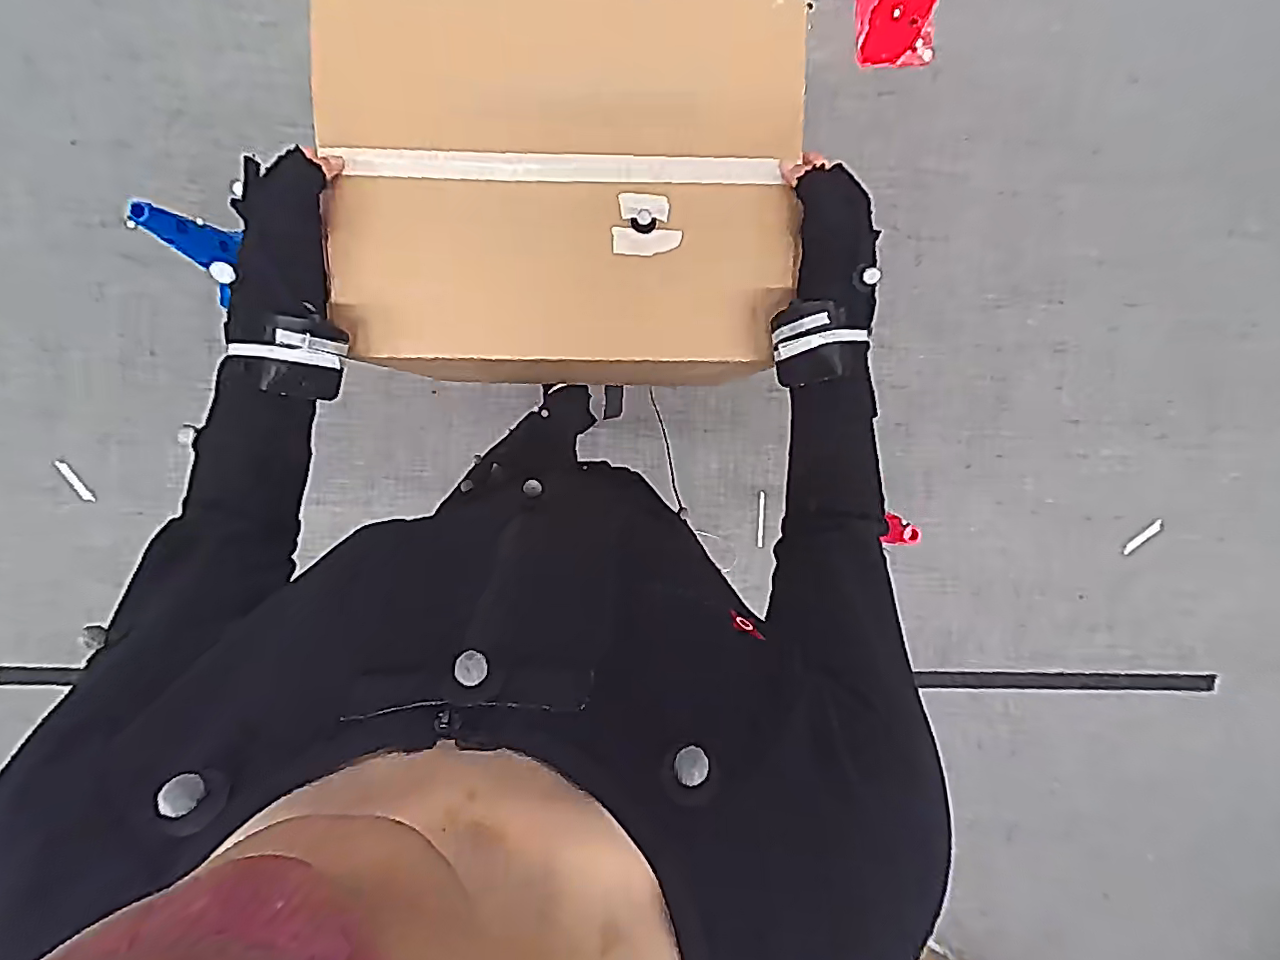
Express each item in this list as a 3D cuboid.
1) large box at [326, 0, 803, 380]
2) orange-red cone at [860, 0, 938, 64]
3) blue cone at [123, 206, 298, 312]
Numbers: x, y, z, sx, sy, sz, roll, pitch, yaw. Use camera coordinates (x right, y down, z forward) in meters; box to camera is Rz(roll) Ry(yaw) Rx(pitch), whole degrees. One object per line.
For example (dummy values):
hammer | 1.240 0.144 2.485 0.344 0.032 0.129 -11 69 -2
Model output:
large box | -0.068 -0.285 0.610 0.408 0.320 0.320 0 96 -3
orange-red cone | 0.680 -1.190 1.244 0.198 0.360 0.199 -1 92 -3
blue cone | -0.982 -0.526 1.237 0.192 0.380 0.193 5 93 -1
